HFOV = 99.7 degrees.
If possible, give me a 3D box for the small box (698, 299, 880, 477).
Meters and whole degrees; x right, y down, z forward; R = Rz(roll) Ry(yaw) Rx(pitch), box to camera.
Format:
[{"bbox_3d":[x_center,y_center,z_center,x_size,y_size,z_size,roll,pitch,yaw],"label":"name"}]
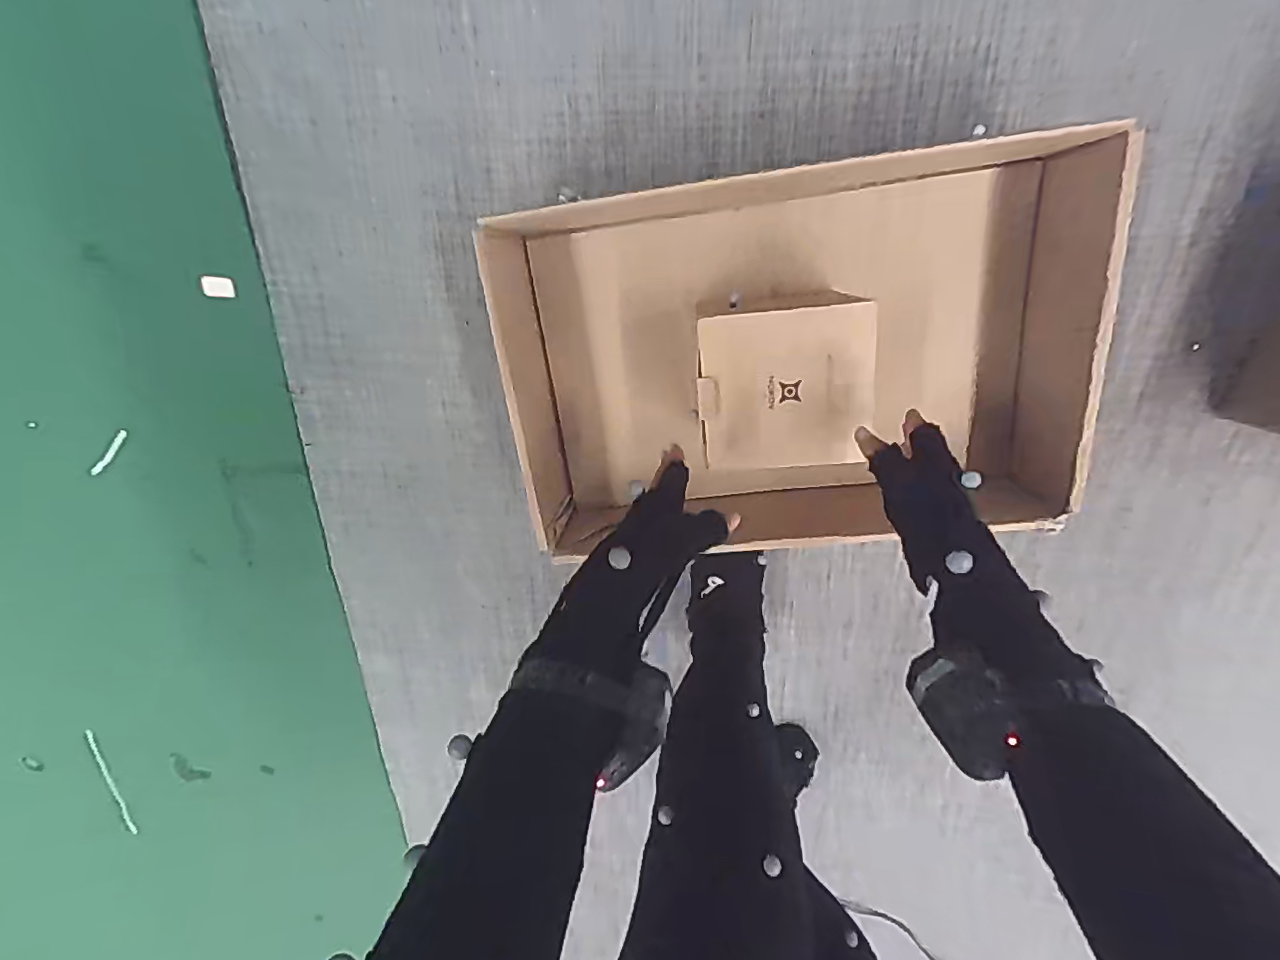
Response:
[{"bbox_3d":[0.159,-0.113,0.630,0.179,0.176,0.168,-5,111,6],"label":"small box"}]
